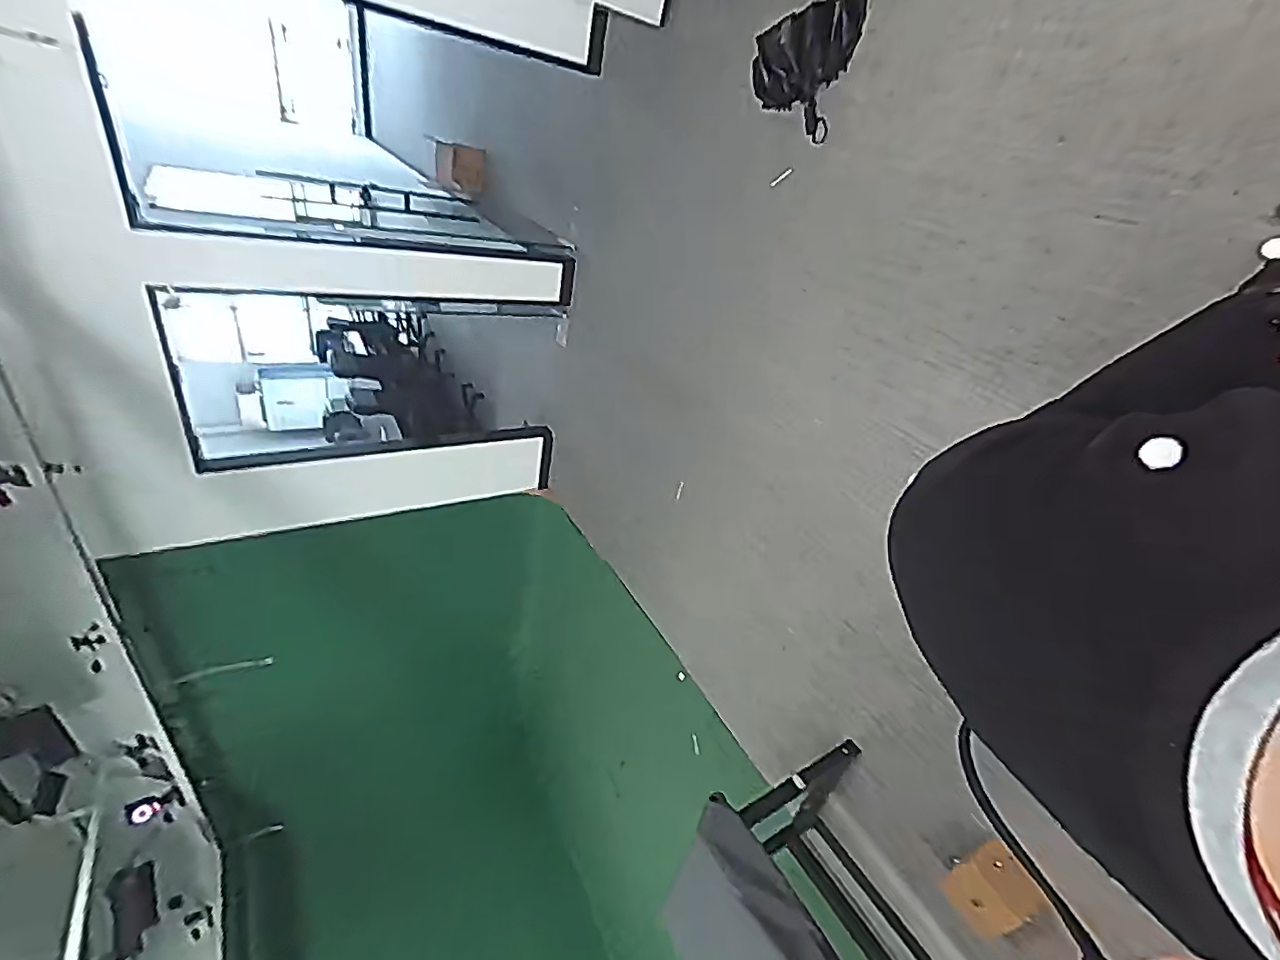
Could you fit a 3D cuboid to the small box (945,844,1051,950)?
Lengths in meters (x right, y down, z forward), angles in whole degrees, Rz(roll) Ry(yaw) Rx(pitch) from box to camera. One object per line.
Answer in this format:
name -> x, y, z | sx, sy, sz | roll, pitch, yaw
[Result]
small box -> 1.037, 1.196, 1.560 | 0.168, 0.176, 0.179 | 53, 140, 40
